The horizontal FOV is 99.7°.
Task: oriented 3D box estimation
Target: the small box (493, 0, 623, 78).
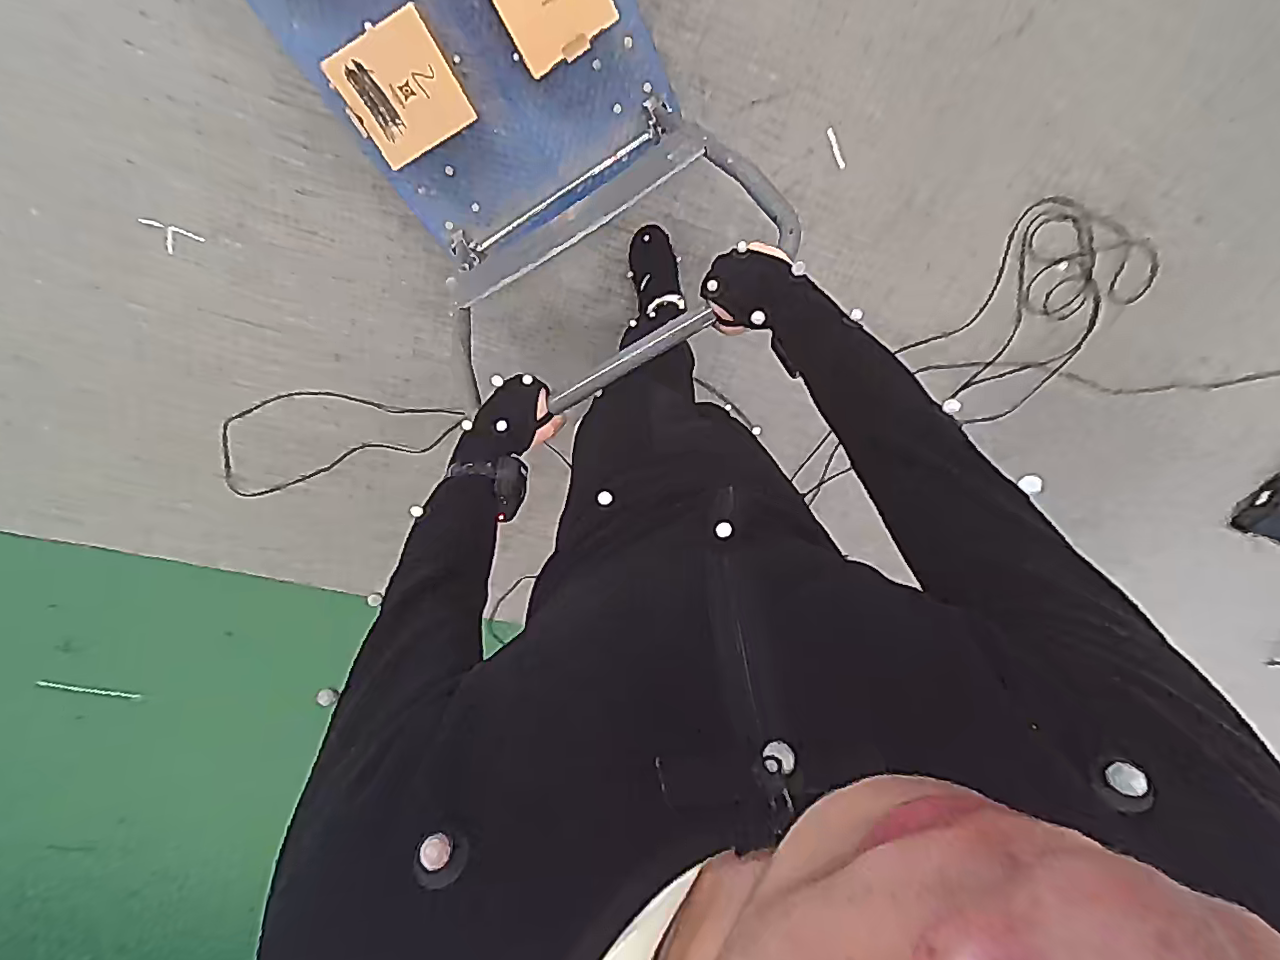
[{"bbox_3d":[-0.152,-0.801,0.883,0.168,0.176,0.179,-29,131,11],"label":"small box"}]
